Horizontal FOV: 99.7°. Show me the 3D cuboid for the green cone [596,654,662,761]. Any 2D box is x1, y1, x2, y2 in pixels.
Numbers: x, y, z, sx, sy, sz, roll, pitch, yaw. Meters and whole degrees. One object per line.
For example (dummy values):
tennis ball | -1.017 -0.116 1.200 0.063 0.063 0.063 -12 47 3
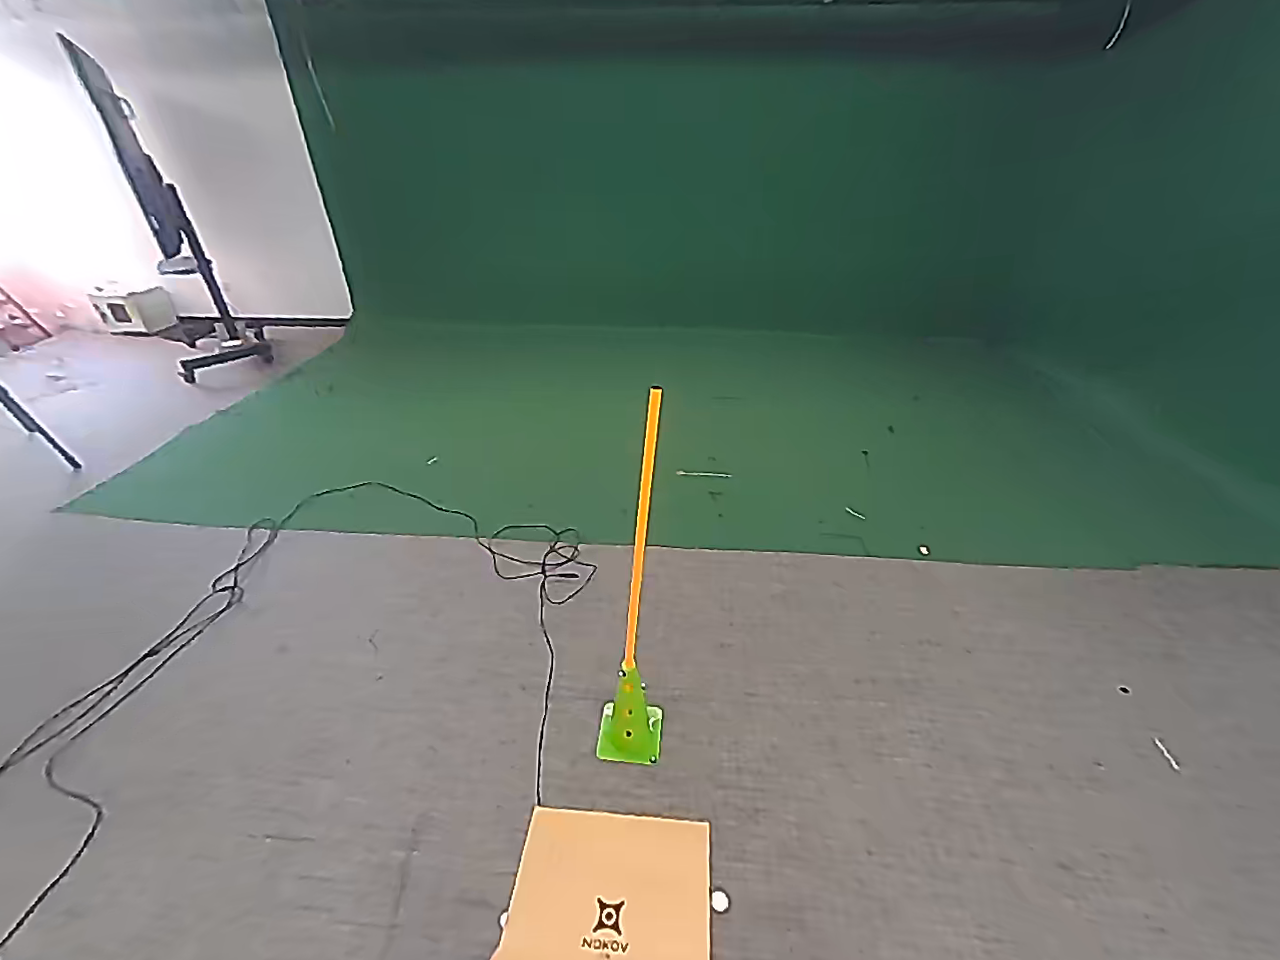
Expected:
green cone | -0.036 0.668 1.665 0.202 0.368 0.200 2 33 5
